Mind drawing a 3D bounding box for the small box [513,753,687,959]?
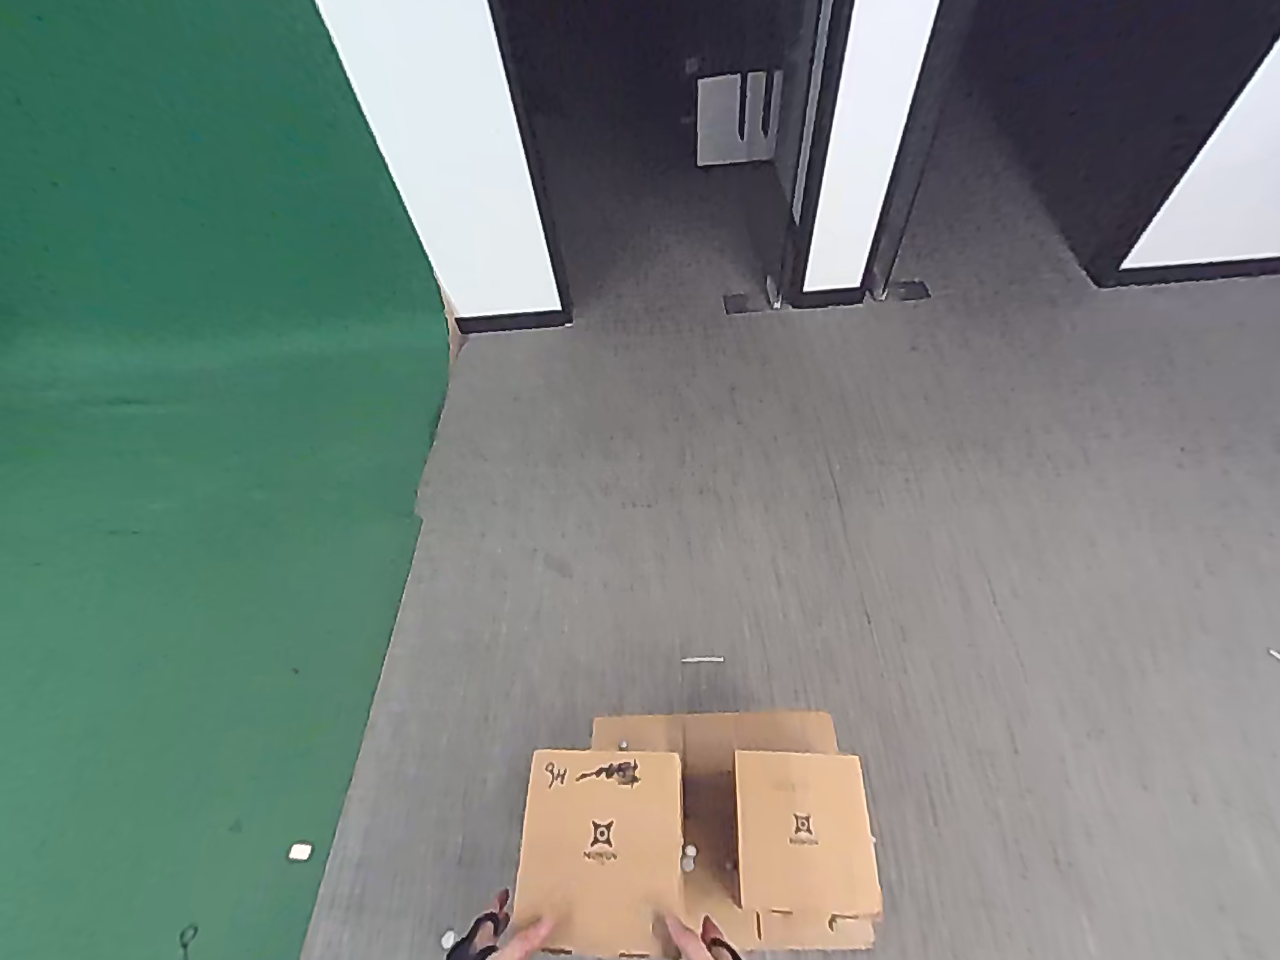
[{"bbox_3d":[-0.031,0.418,0.614,0.168,0.176,0.179,-1,56,4],"label":"small box"}]

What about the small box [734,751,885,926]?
[{"bbox_3d":[0.216,0.486,0.739,0.168,0.176,0.179,-1,53,7],"label":"small box"}]
